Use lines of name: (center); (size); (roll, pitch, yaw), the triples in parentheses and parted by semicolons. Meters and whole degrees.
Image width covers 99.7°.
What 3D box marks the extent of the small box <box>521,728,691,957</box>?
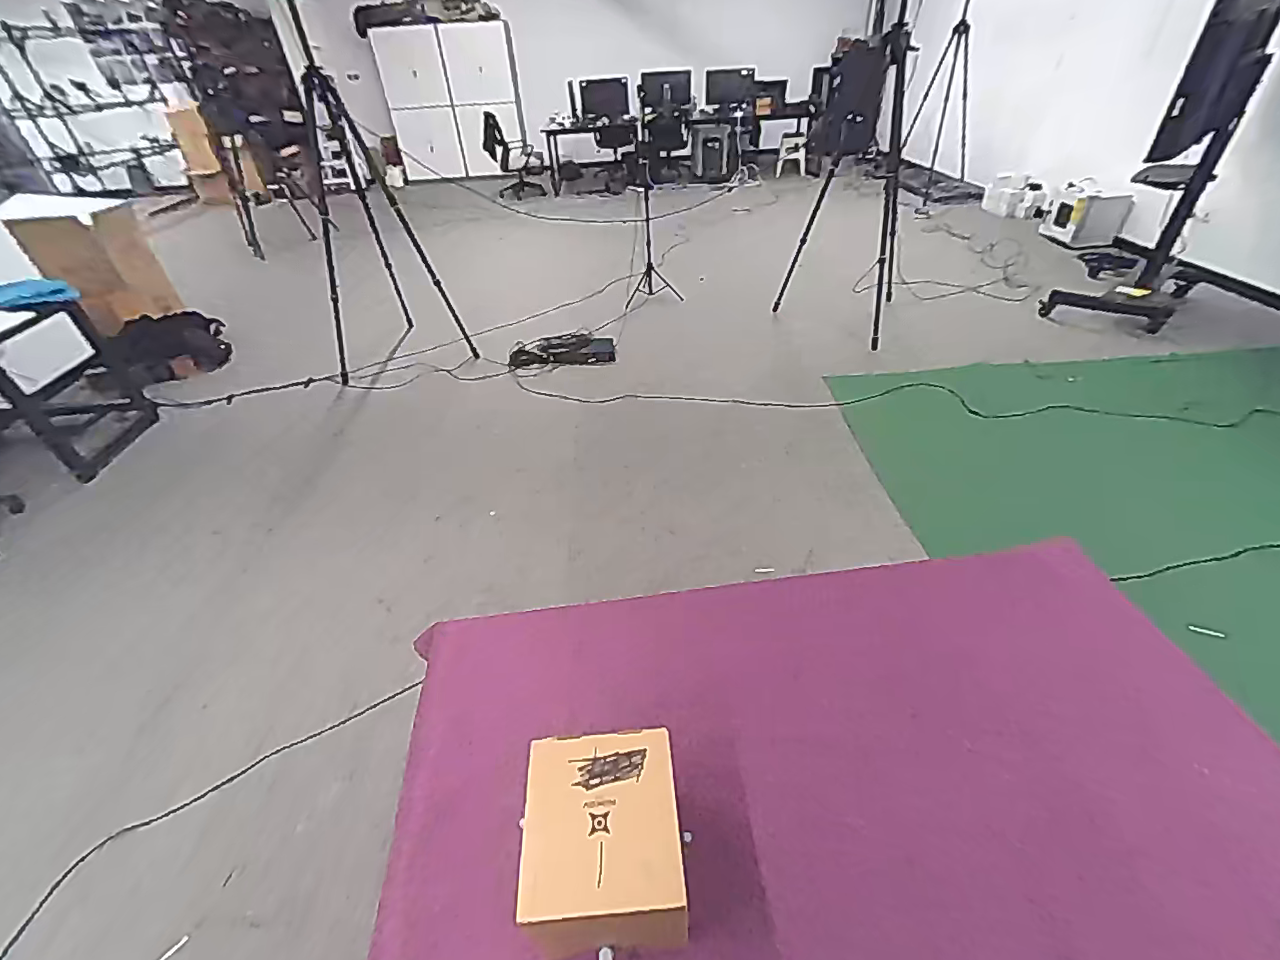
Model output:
small box: (-0.035, 0.419, 0.629); (0.168, 0.176, 0.179); (-5, 40, -1)
